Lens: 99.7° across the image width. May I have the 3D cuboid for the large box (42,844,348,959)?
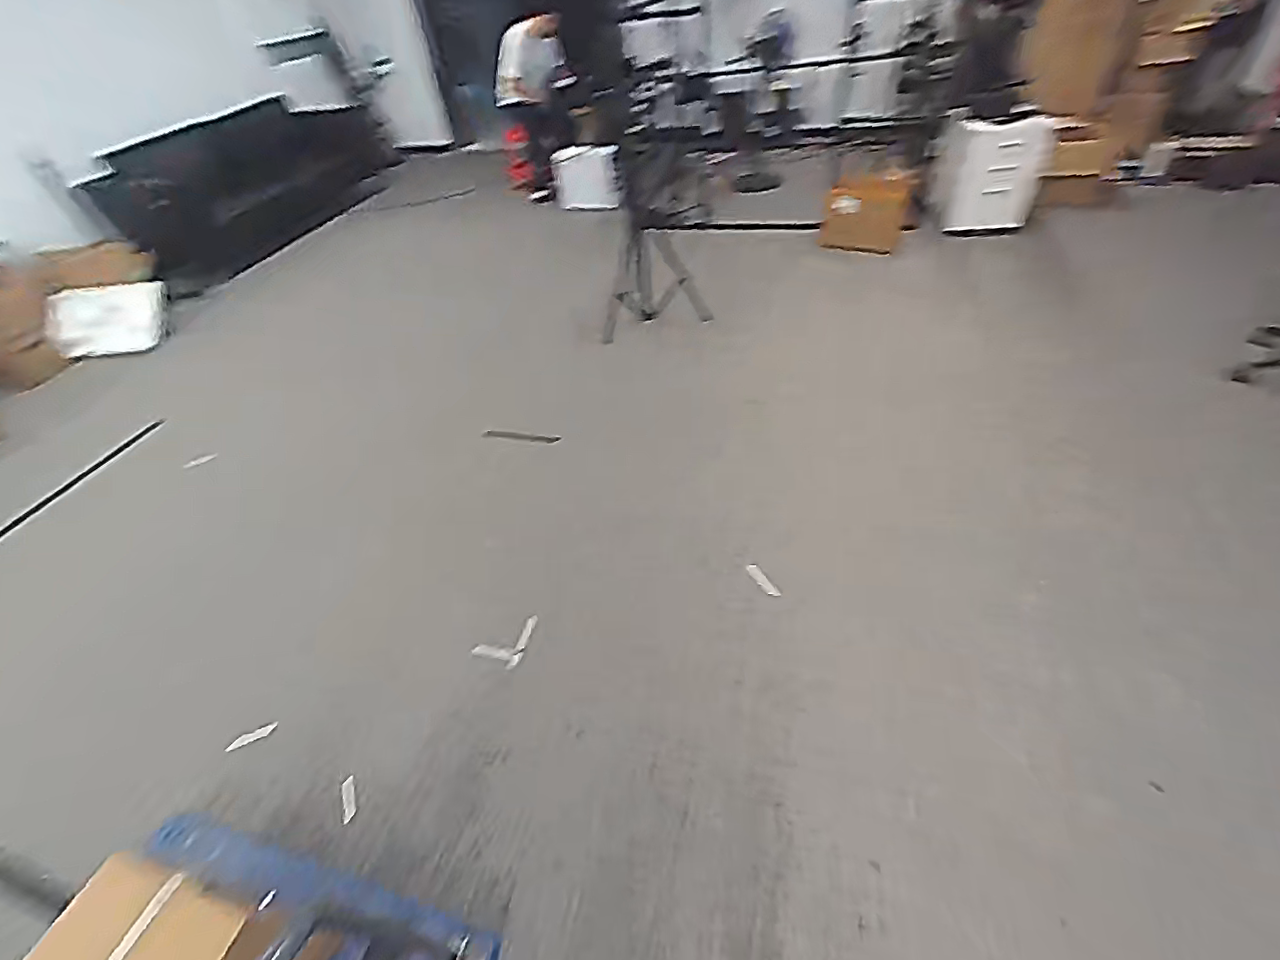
[{"bbox_3d":[-0.790,0.902,0.889,0.320,0.320,0.408,9,47,17],"label":"large box"}]
